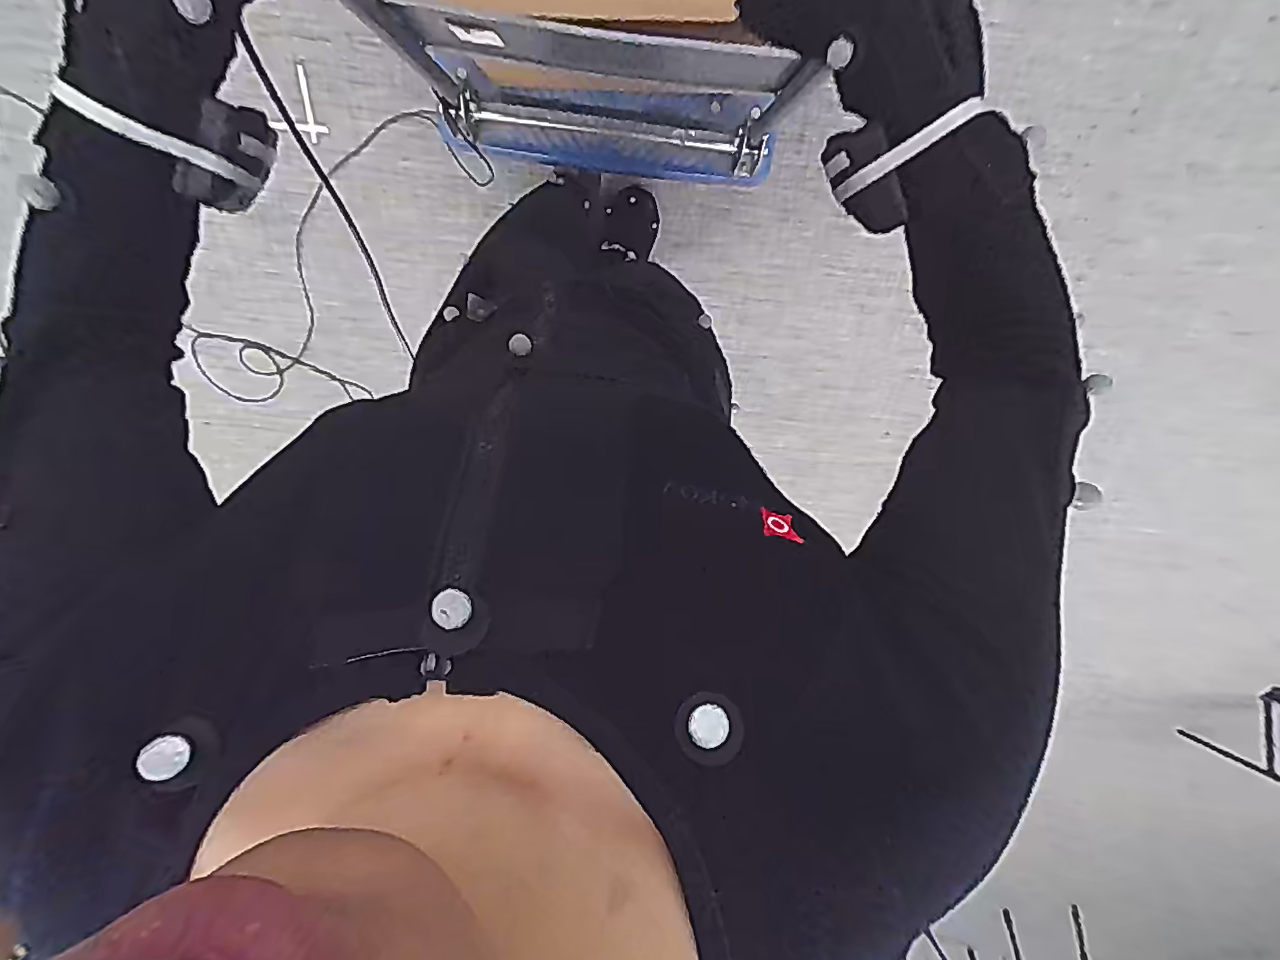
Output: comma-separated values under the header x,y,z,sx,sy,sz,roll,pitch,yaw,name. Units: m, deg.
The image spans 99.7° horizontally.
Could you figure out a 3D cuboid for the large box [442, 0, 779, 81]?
x,y,z,sx,sy,sz,roll,pitch,yaw,name
-0.040,-0.748,0.706,0.408,0.320,0.320,0,114,-2,large box
